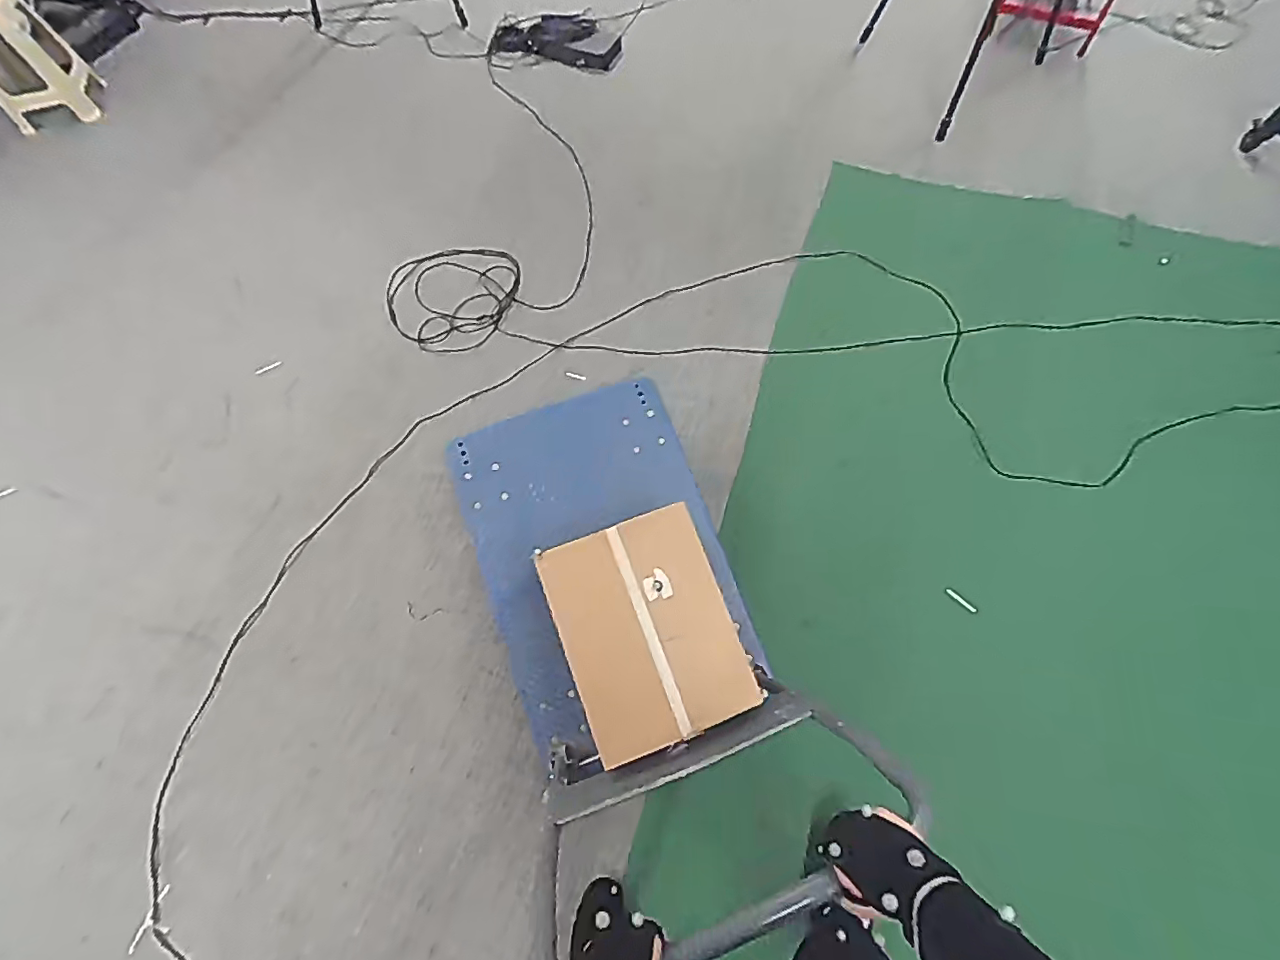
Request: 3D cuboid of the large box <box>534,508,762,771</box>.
[{"bbox_3d":[0.006,0.322,1.155,0.320,0.320,0.408,-20,78,-9],"label":"large box"}]
